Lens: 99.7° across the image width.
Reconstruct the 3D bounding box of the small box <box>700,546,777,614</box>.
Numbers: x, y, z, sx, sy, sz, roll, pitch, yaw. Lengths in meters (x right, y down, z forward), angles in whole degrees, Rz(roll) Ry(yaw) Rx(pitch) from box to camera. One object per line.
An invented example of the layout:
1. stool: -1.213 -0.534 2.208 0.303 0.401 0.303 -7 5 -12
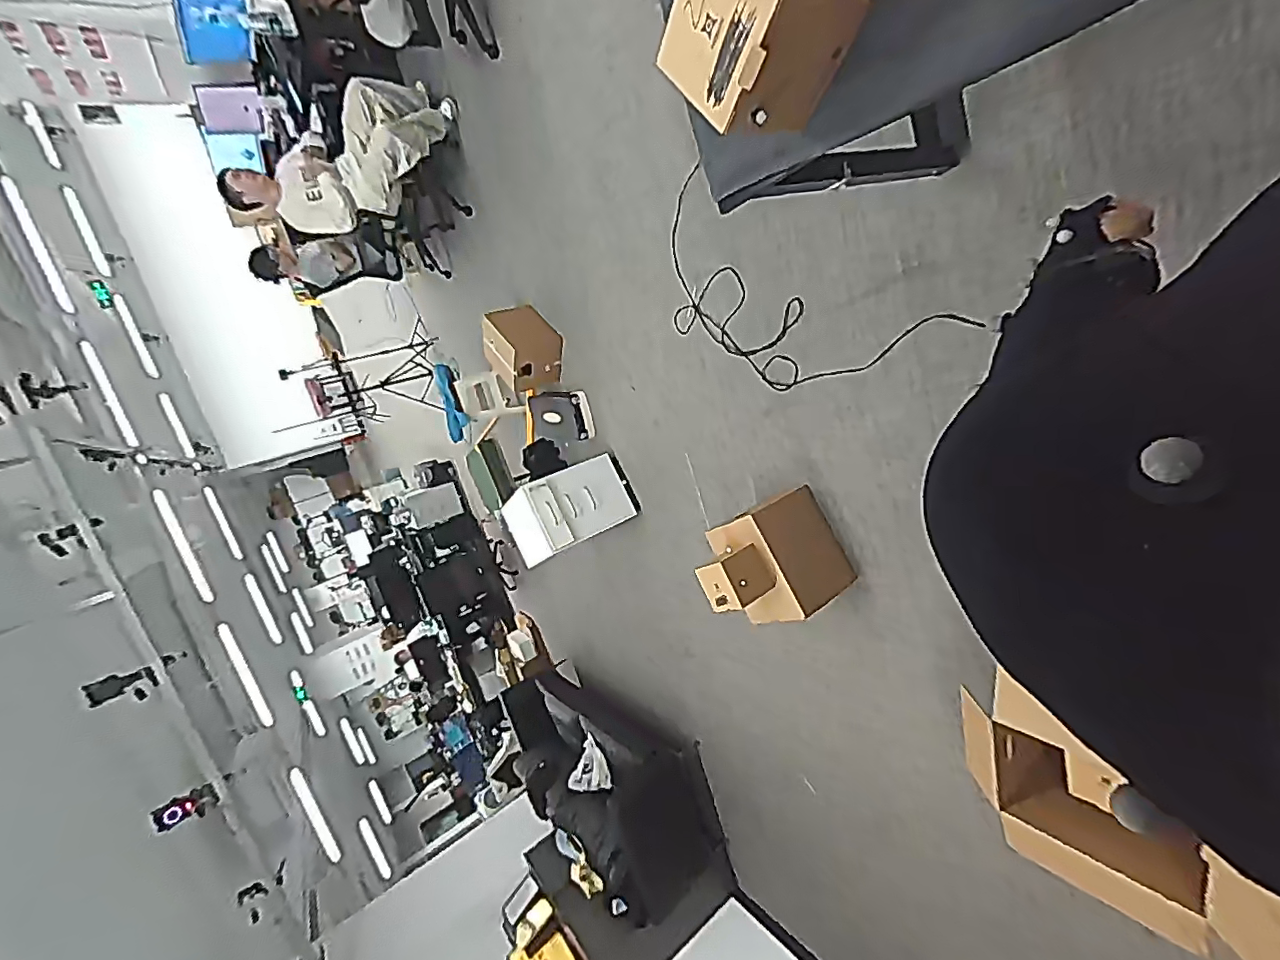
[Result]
1. small box: 0.354 0.356 1.929 0.168 0.176 0.179 -34 80 58
